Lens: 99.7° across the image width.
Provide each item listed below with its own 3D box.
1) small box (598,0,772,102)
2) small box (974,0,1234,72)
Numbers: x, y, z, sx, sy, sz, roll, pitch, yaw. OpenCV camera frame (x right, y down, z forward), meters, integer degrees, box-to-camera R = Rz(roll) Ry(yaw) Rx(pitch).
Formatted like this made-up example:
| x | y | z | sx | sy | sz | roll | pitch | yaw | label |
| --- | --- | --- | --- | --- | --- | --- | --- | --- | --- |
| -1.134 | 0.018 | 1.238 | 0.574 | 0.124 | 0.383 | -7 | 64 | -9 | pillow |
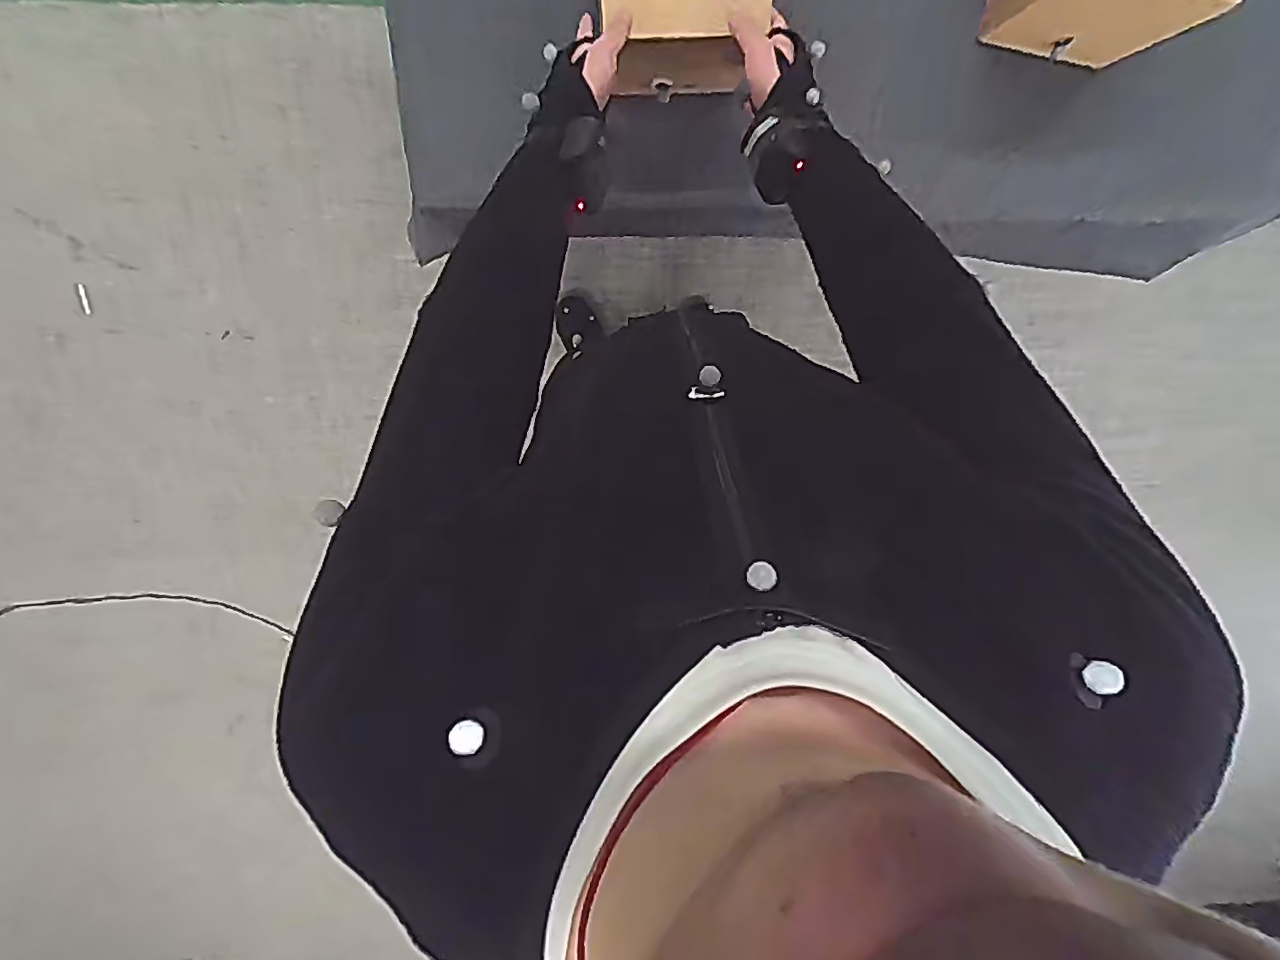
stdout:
| x | y | z | sx | sy | sz | roll | pitch | yaw | label |
| --- | --- | --- | --- | --- | --- | --- | --- | --- | --- |
| 0.039 | -0.523 | 0.561 | 0.168 | 0.176 | 0.179 | -1 | 110 | -1 | small box |
| 0.518 | -0.579 | 0.588 | 0.179 | 0.176 | 0.168 | 7 | 109 | -7 | small box |
